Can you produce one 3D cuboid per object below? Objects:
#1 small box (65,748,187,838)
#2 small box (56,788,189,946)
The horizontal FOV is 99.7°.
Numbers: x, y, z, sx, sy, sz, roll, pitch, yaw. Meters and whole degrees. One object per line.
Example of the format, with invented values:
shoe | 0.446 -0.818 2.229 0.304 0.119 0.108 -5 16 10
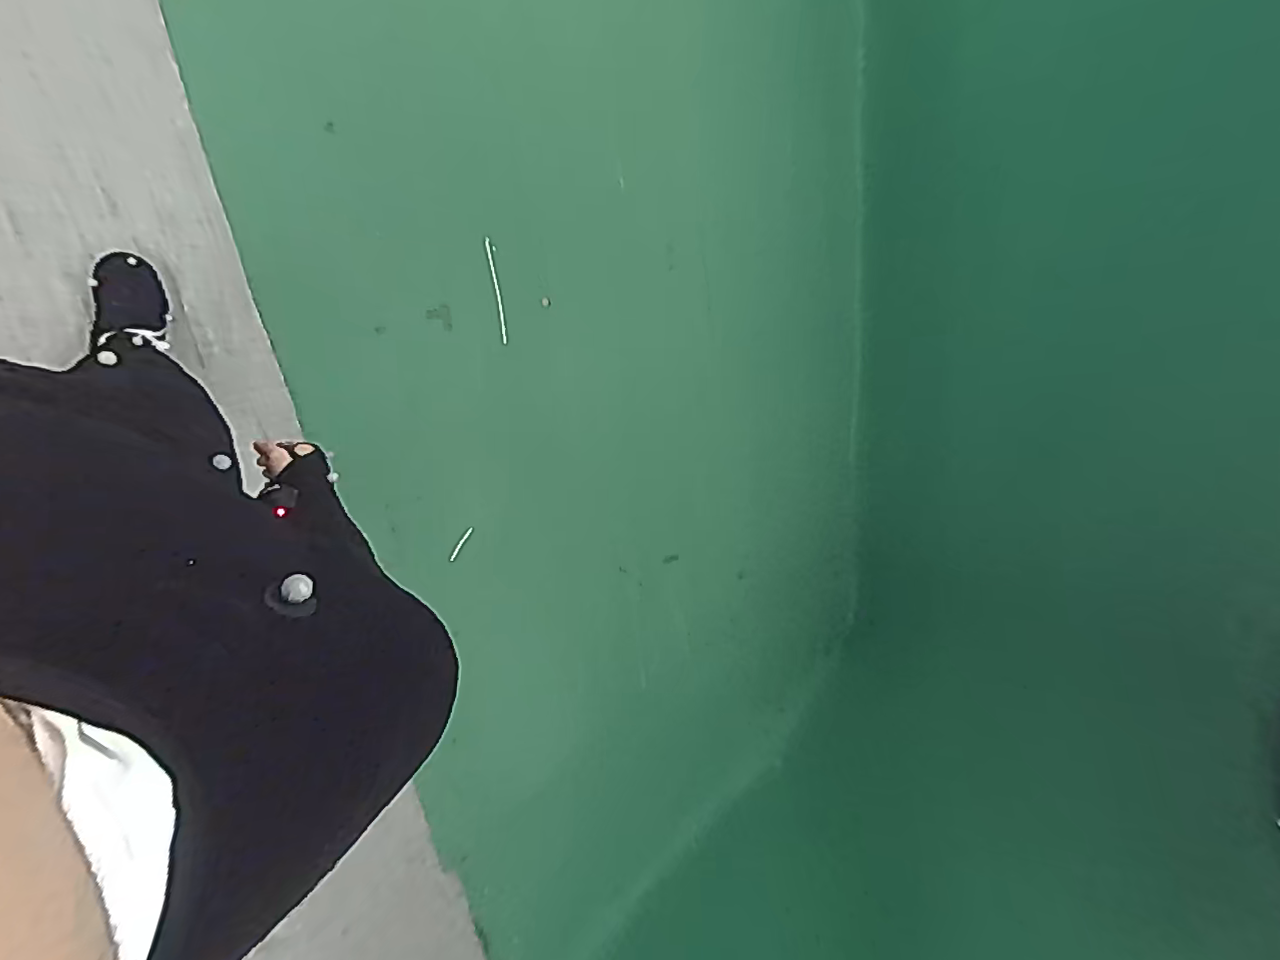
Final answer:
small box | -1.172 0.750 1.237 0.168 0.176 0.179 -17 112 -40
small box | -1.063 0.778 1.117 0.168 0.176 0.179 -15 110 -40
